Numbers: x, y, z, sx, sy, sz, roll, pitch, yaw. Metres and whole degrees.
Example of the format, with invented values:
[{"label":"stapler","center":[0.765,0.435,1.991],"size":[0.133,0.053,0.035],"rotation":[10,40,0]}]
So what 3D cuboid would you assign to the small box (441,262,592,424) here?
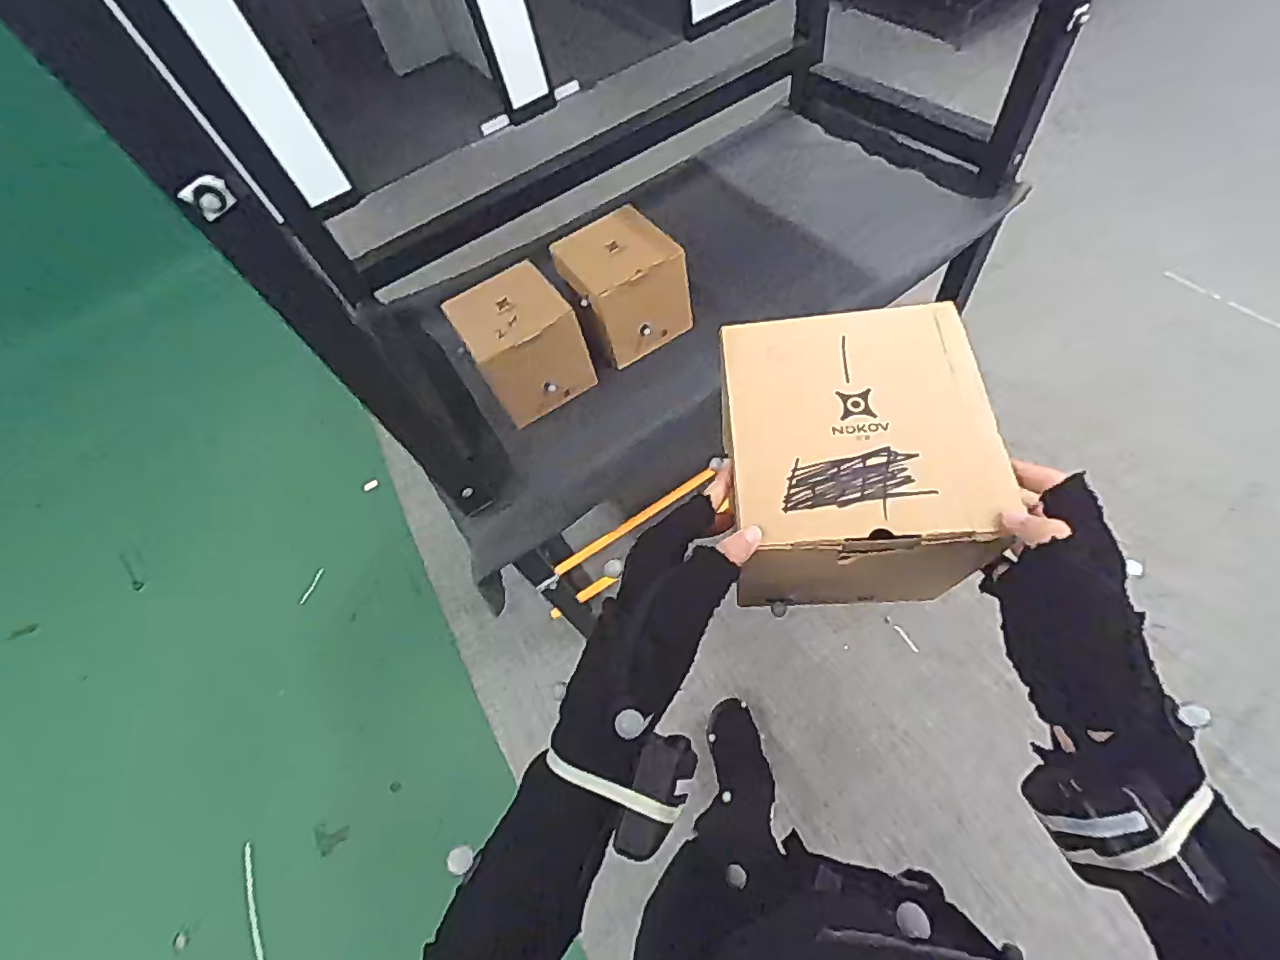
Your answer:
[{"label":"small box","center":[-0.205,-0.230,0.925],"size":[0.168,0.176,0.179],"rotation":[-32,58,-9]}]
